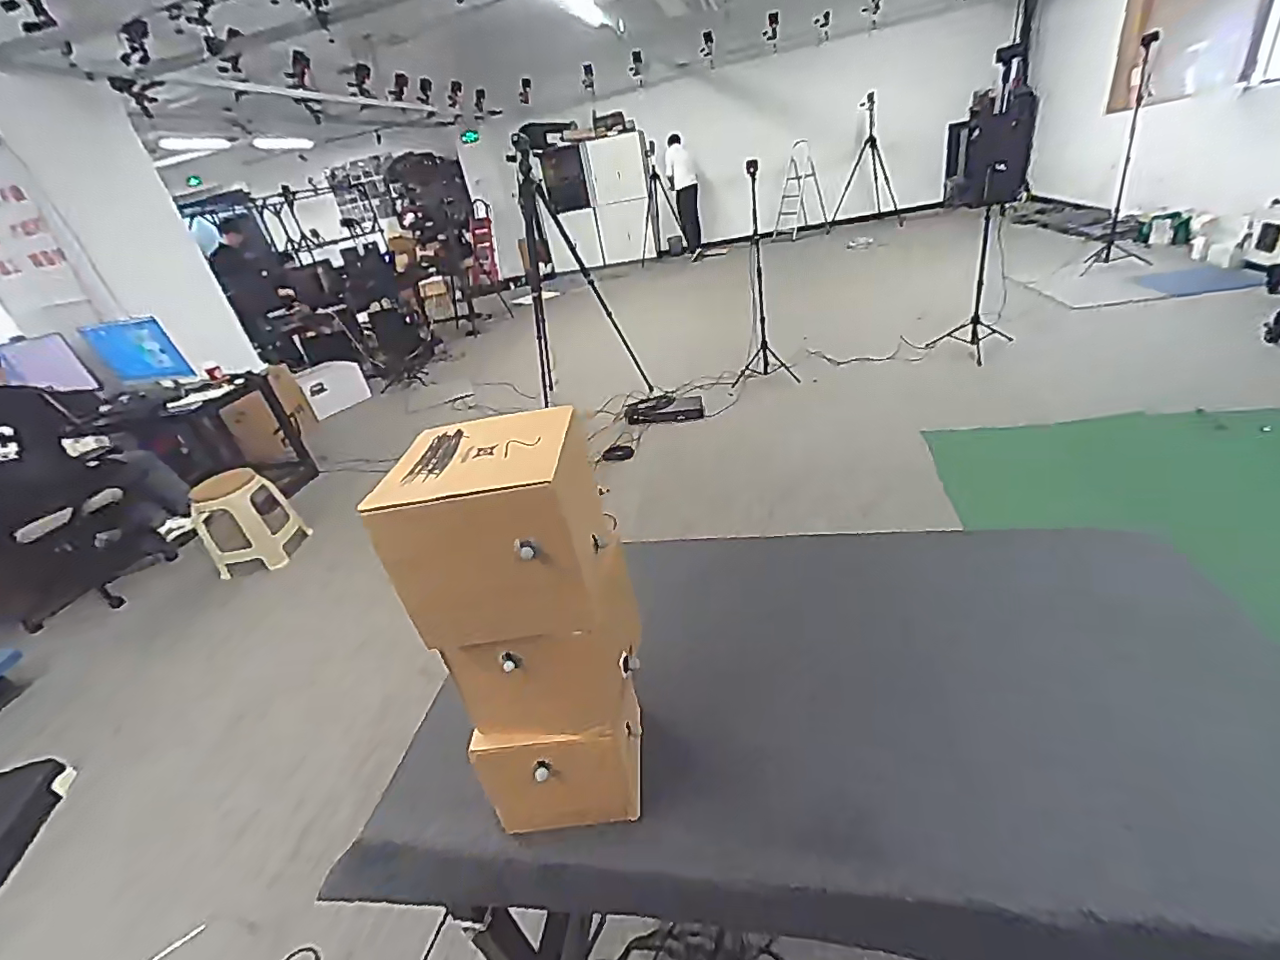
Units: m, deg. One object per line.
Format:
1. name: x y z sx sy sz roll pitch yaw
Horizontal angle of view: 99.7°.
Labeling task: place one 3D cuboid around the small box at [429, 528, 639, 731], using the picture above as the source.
1. small box: -0.109 0.175 0.642 0.179 0.176 0.168 -4 31 12

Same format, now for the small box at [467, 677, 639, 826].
1. small box: -0.098 0.323 0.712 0.179 0.176 0.168 -9 29 5
